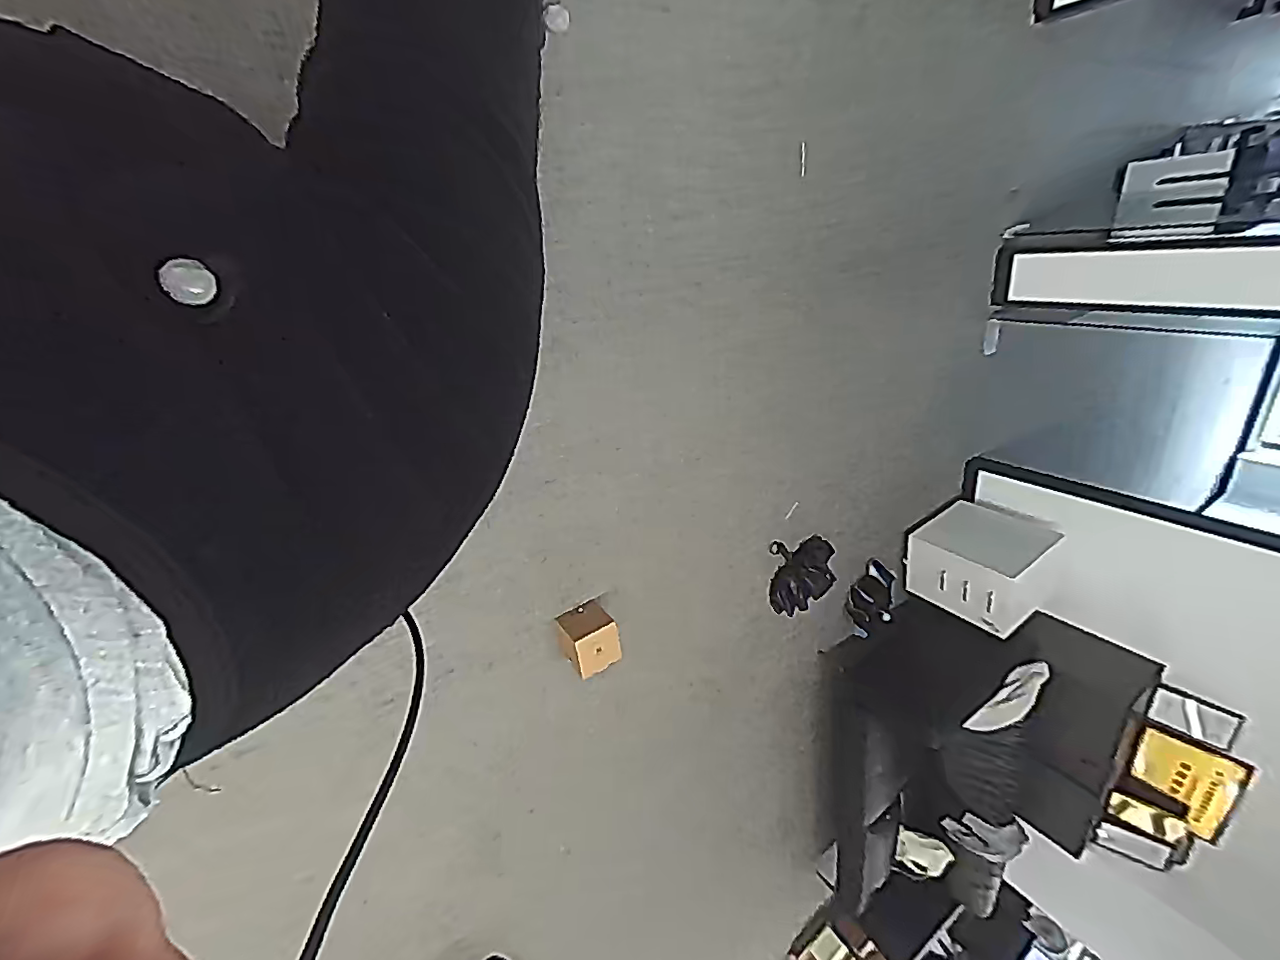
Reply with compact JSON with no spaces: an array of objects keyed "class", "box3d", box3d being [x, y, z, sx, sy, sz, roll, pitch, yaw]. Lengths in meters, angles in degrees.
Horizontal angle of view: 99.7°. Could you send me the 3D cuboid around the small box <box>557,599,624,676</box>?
[{"class":"small box","box3d":[-0.182,0.568,1.966,0.168,0.176,0.179,-24,118,-27]}]
